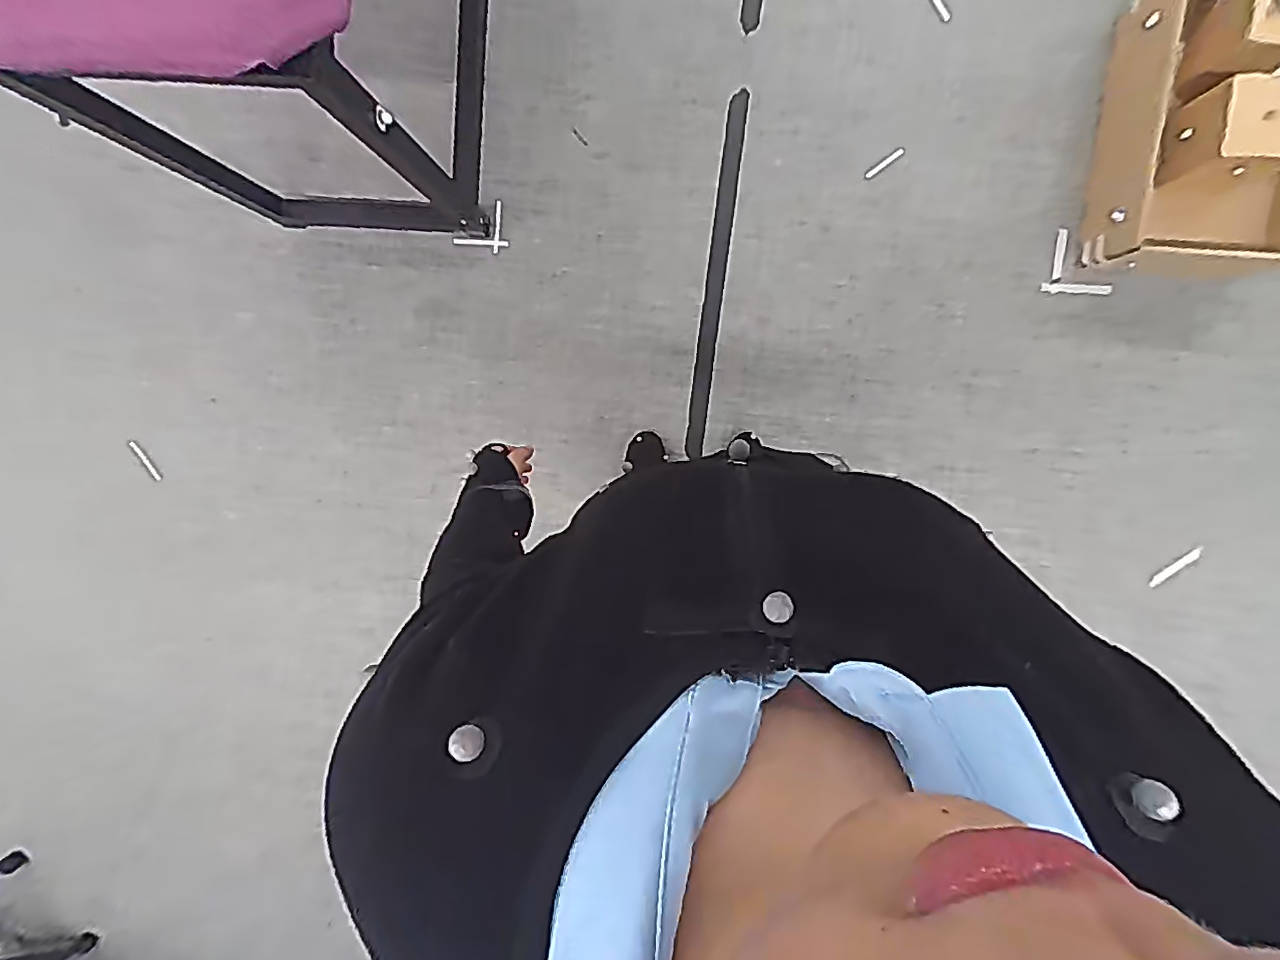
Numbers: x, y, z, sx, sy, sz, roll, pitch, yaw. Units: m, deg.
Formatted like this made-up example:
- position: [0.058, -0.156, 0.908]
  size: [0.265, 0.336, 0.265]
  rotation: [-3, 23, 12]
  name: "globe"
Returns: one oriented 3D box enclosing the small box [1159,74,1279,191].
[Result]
- position: [1.327, -0.767, 1.207]
  size: [0.179, 0.176, 0.168]
  rotation: [4, 96, 4]
  name: "small box"
